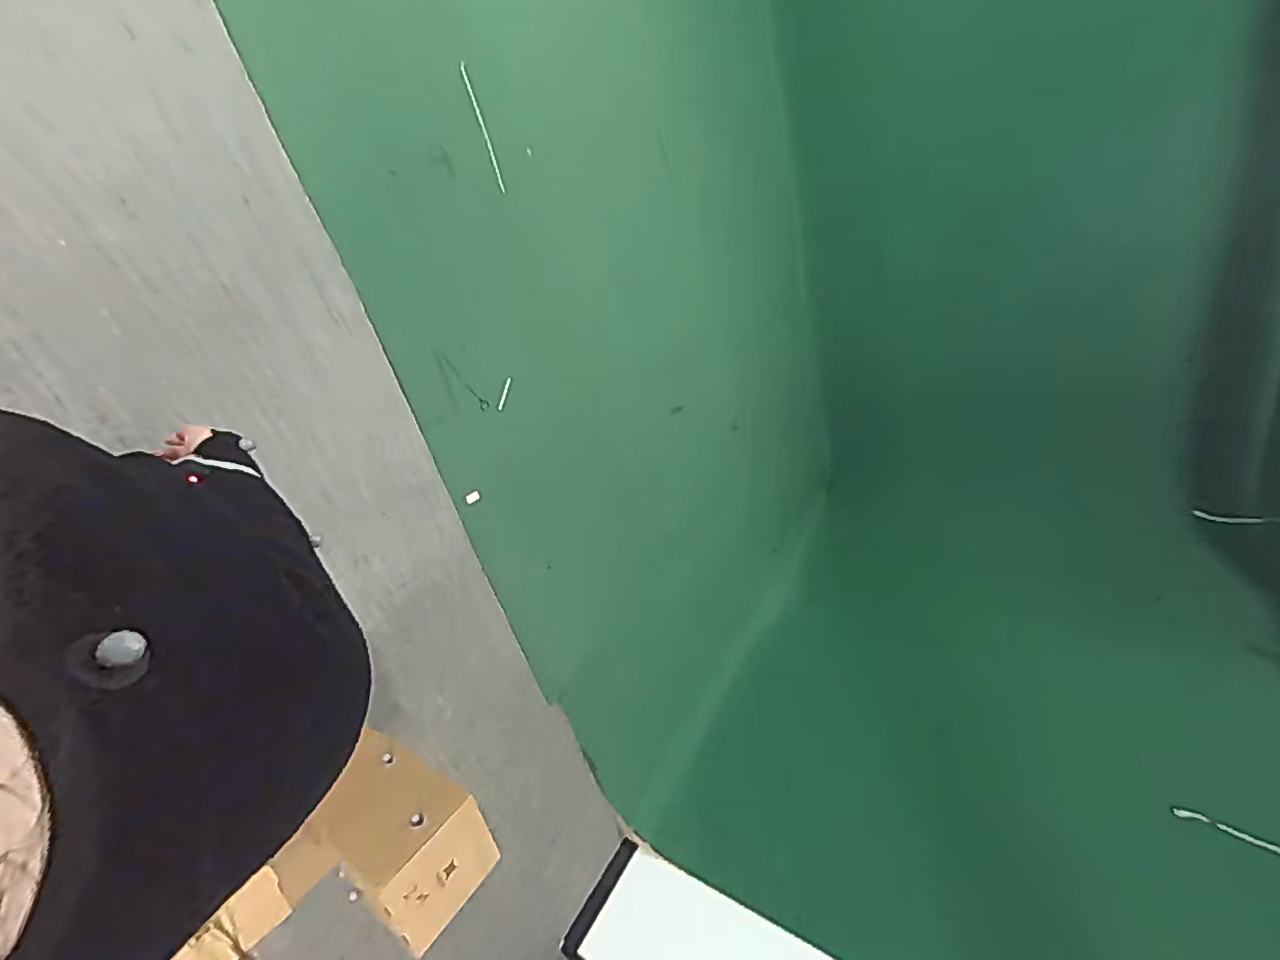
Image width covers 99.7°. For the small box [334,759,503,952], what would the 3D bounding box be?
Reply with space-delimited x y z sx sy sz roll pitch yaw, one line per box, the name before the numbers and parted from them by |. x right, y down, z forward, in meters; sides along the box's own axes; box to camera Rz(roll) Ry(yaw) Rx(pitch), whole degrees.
small box | -0.369 0.613 0.910 0.179 0.176 0.168 -36 122 -45
